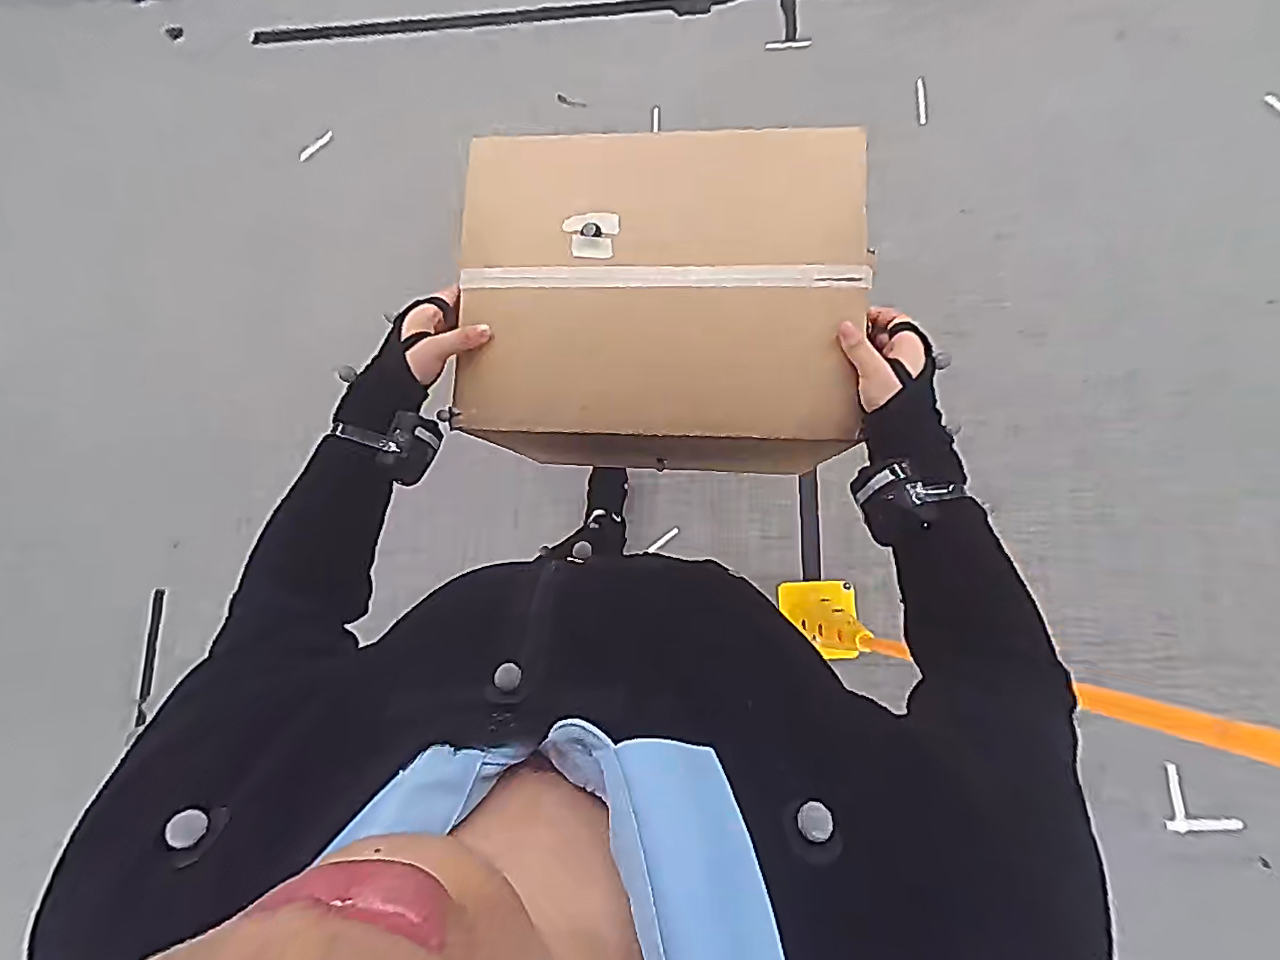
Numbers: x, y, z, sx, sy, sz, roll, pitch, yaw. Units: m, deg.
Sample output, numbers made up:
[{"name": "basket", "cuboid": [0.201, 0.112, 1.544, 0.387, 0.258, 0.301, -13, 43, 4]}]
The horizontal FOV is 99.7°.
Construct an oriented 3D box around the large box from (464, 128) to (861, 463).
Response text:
[{"name": "large box", "cuboid": [0.038, -0.192, 0.697, 0.408, 0.320, 0.320, 2, 84, 7]}]
